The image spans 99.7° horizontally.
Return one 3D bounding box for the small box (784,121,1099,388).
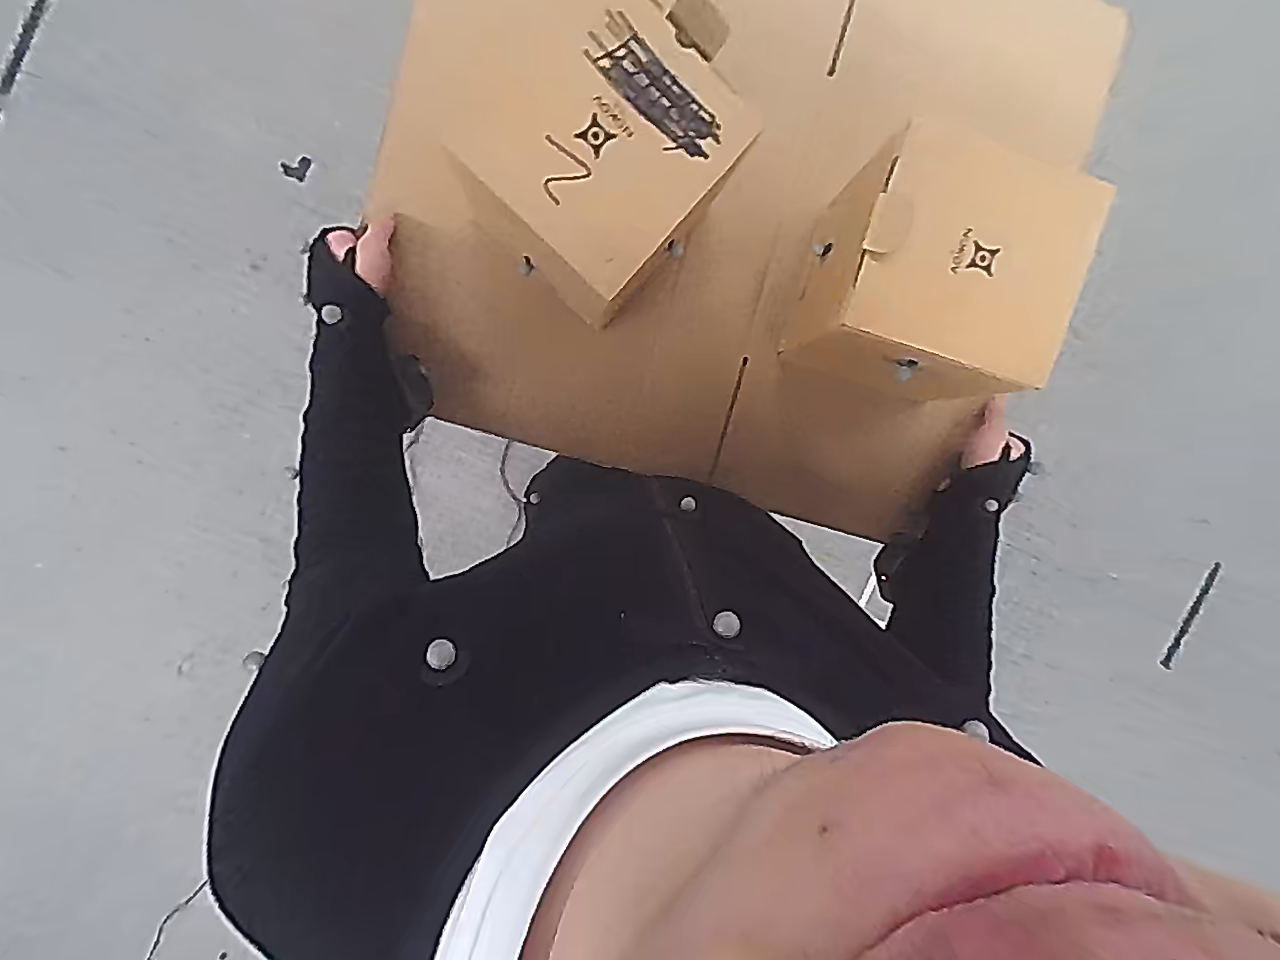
[{"bbox_3d":[0.263,-0.190,0.516,0.179,0.176,0.168,16,94,-3],"label":"small box"}]
